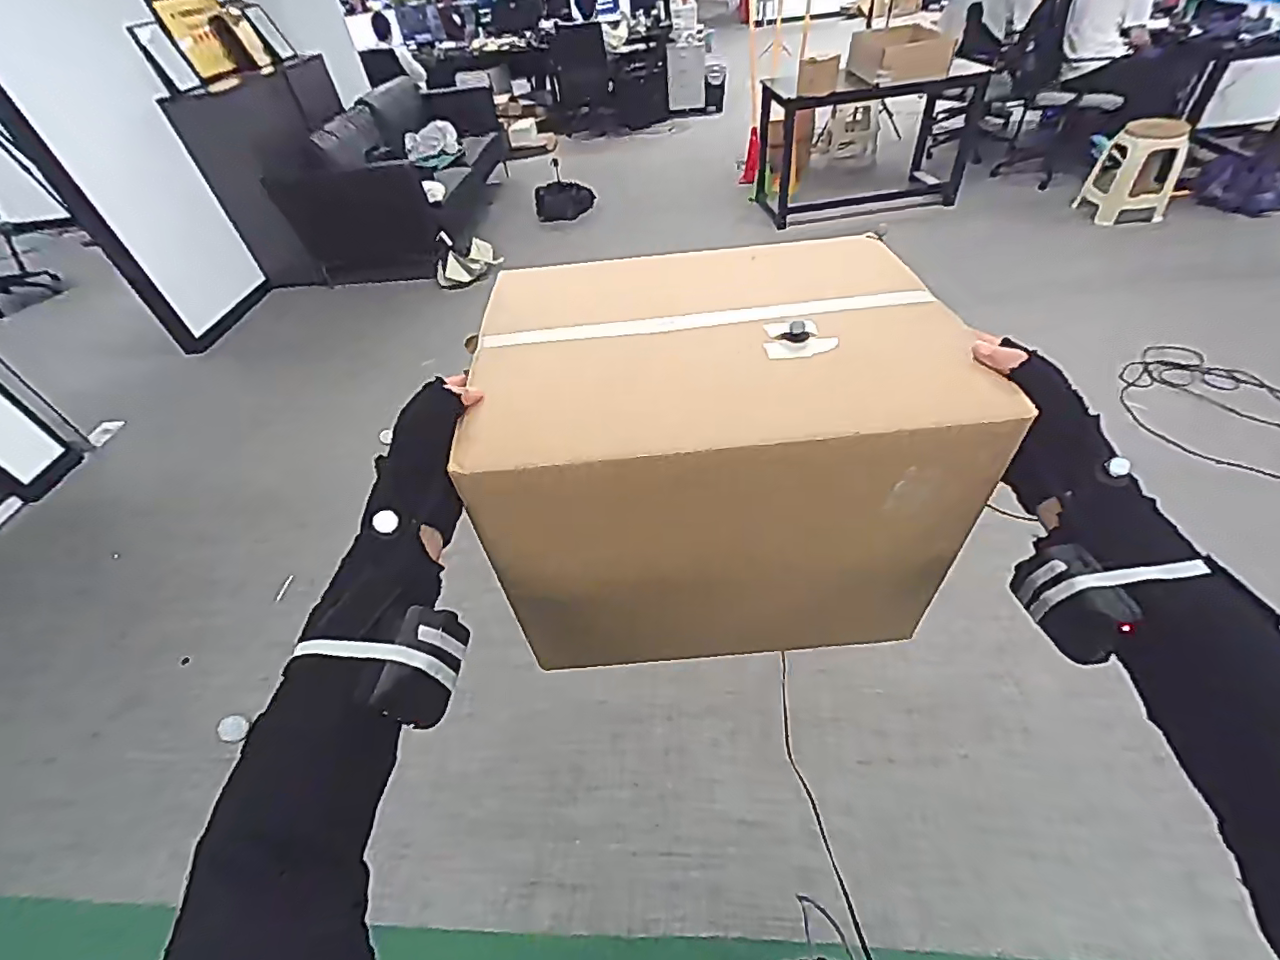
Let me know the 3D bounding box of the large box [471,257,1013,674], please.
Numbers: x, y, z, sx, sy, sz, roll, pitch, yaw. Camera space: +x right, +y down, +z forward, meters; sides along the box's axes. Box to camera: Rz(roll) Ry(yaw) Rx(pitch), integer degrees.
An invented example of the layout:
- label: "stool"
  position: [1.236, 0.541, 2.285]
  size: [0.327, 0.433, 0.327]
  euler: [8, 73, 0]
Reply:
- label: "large box"
  position: [0.071, -0.016, 0.594]
  size: [0.408, 0.320, 0.320]
  euler: [-5, 45, 0]
